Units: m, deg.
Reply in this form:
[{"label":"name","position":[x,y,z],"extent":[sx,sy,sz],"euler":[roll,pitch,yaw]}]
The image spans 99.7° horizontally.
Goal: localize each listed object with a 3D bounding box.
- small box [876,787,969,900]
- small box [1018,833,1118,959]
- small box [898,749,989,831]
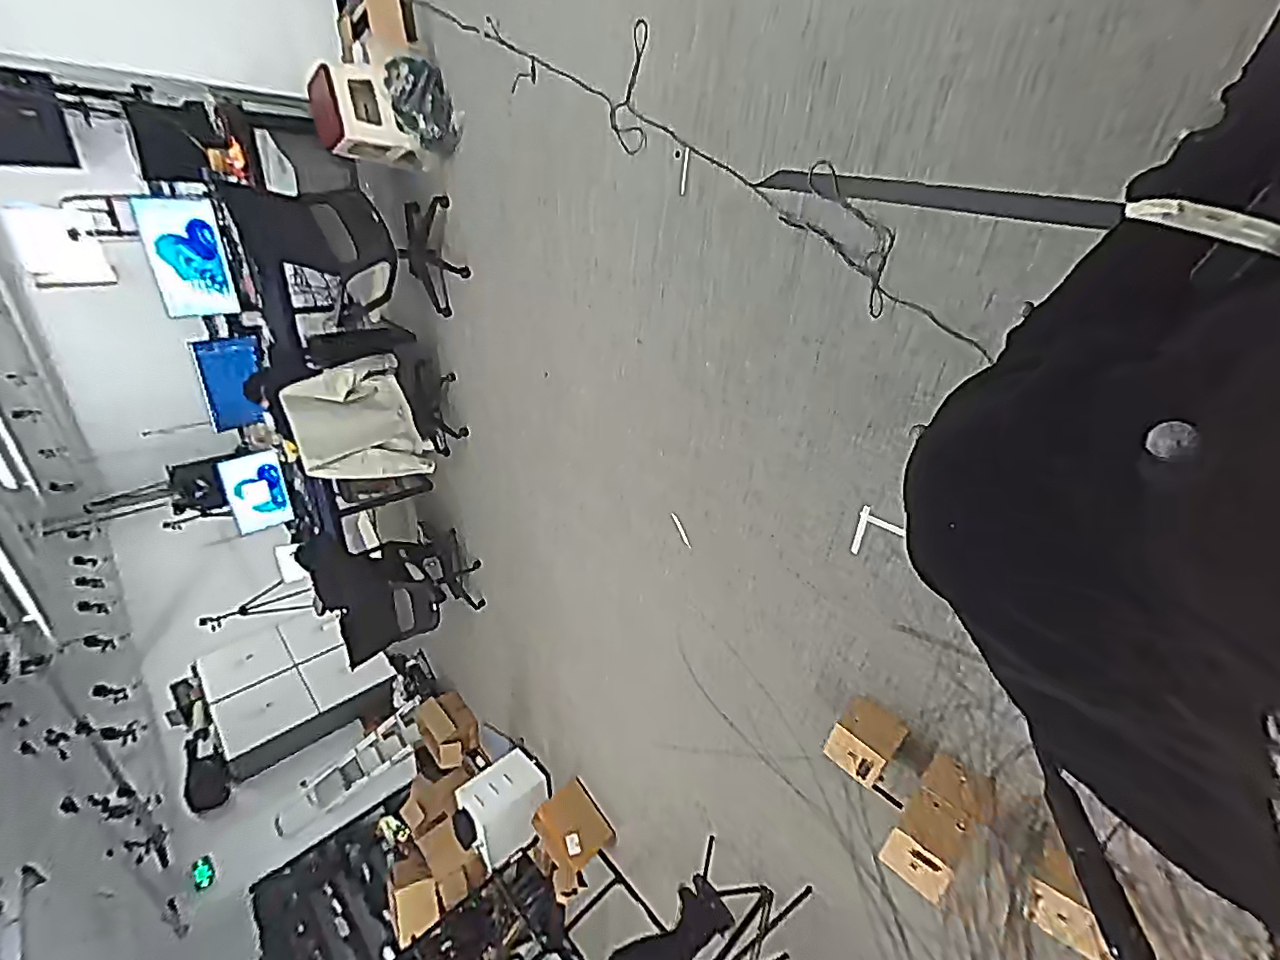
[{"label":"small box","position":[0.813,1.031,1.549],"extent":[0.168,0.176,0.179],"euler":[30,129,37]},{"label":"small box","position":[1.158,1.113,1.462],"extent":[0.179,0.176,0.168],"euler":[17,119,42]},{"label":"small box","position":[0.928,0.973,1.651],"extent":[0.168,0.176,0.179],"euler":[33,129,34]}]
